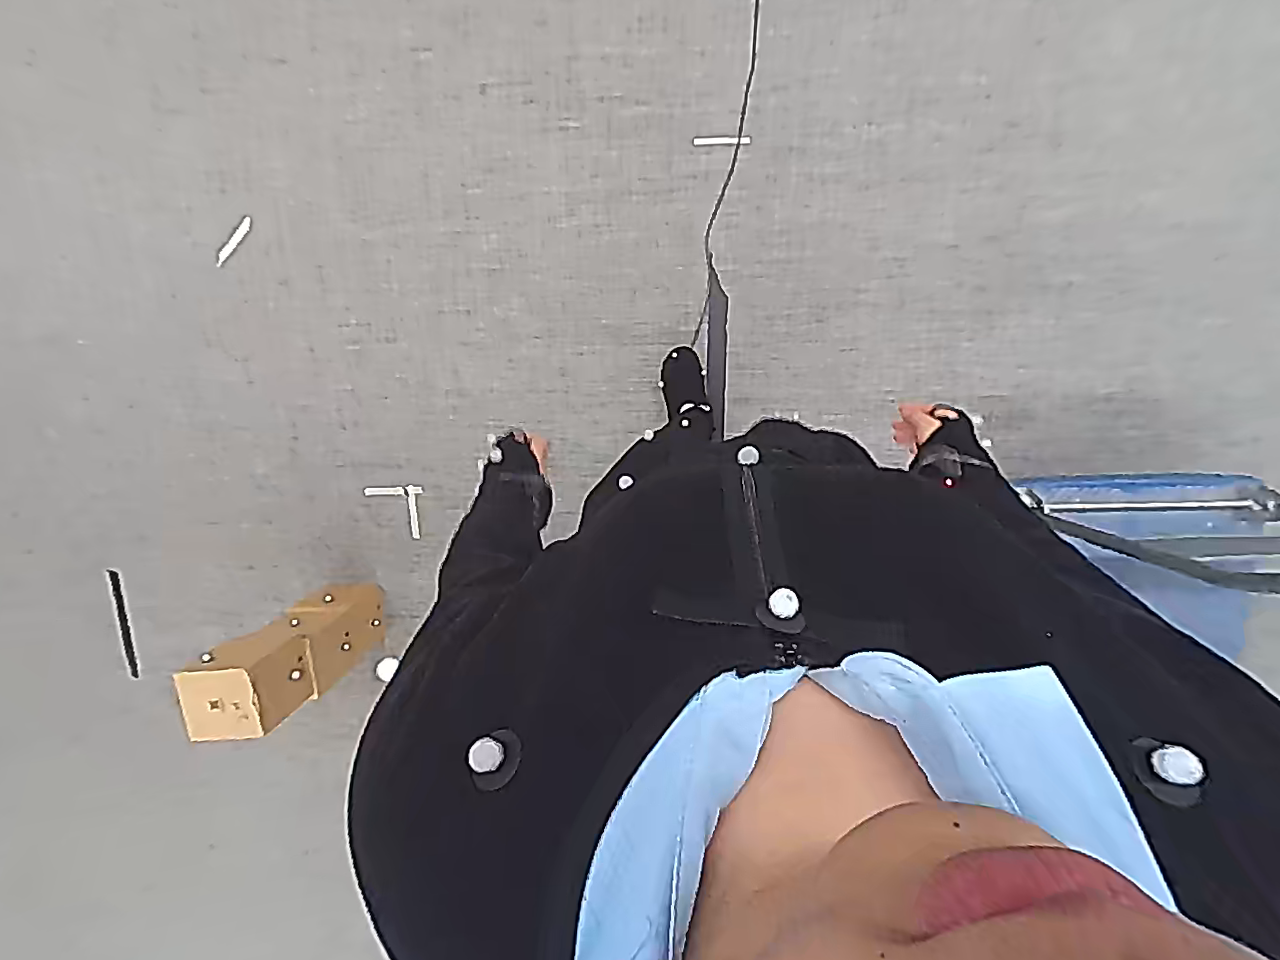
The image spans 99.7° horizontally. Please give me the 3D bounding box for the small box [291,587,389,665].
[{"bbox_3d":[-0.857,0.415,1.558,0.179,0.176,0.168,-1,100,4],"label":"small box"}]

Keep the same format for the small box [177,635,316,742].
[{"bbox_3d":[-0.888,0.470,1.234,0.179,0.176,0.168,-5,100,4],"label":"small box"}]
